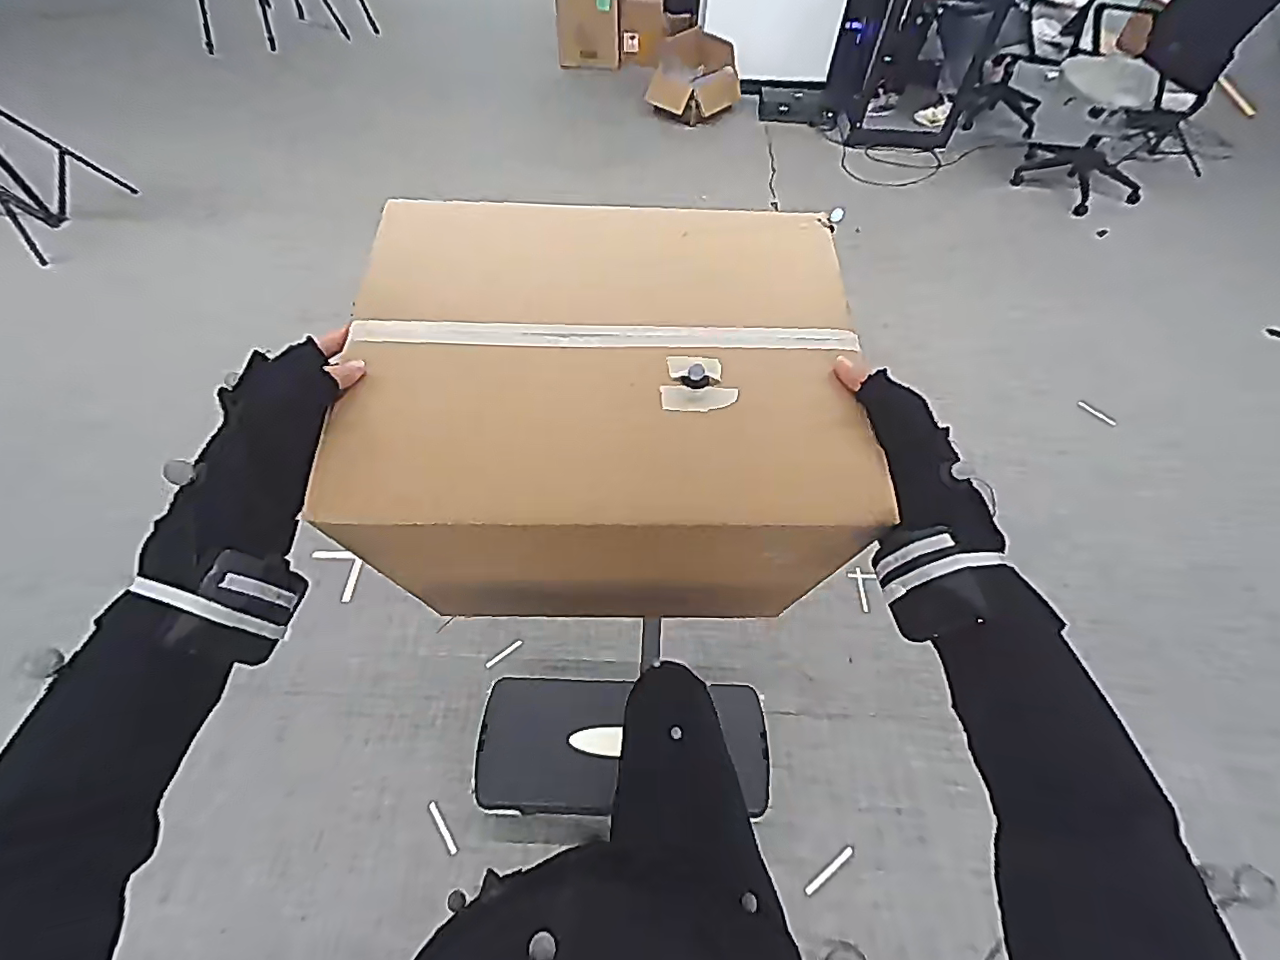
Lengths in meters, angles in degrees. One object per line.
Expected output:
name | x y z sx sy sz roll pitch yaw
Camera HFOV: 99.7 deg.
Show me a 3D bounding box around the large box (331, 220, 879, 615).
large box | -0.031 -0.043 0.584 0.408 0.320 0.320 1 65 -3
